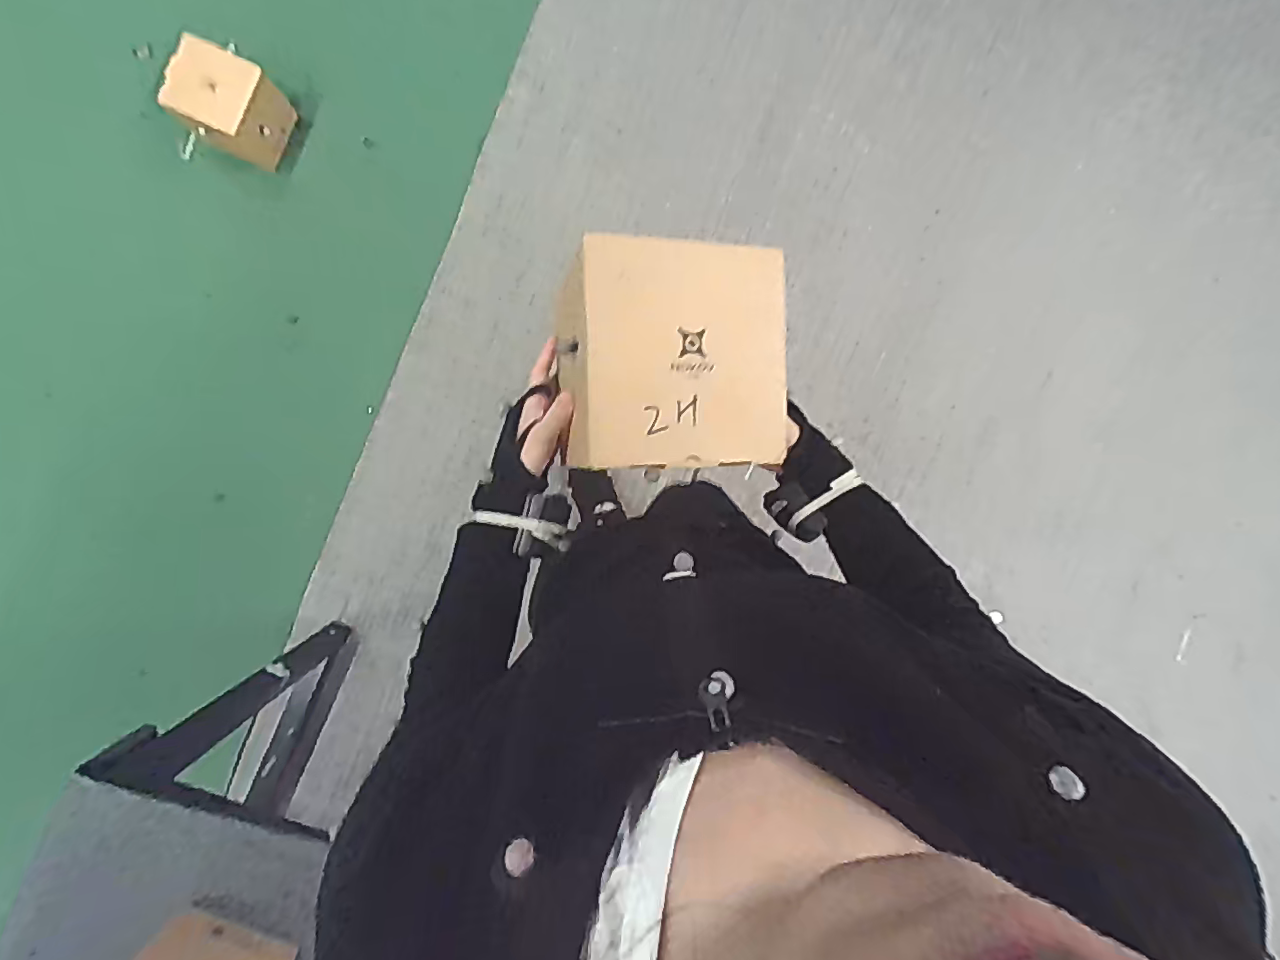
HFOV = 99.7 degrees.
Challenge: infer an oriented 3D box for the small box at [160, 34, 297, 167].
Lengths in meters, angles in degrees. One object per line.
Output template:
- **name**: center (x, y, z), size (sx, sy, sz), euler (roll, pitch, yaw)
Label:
- **small box**: center (-0.964, -0.886, 1.286), size (0.179, 0.176, 0.168), euler (23, 90, -5)

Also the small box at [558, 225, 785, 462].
- **small box**: center (0.017, -0.105, 0.497), size (0.168, 0.176, 0.179), euler (-1, 93, -15)
